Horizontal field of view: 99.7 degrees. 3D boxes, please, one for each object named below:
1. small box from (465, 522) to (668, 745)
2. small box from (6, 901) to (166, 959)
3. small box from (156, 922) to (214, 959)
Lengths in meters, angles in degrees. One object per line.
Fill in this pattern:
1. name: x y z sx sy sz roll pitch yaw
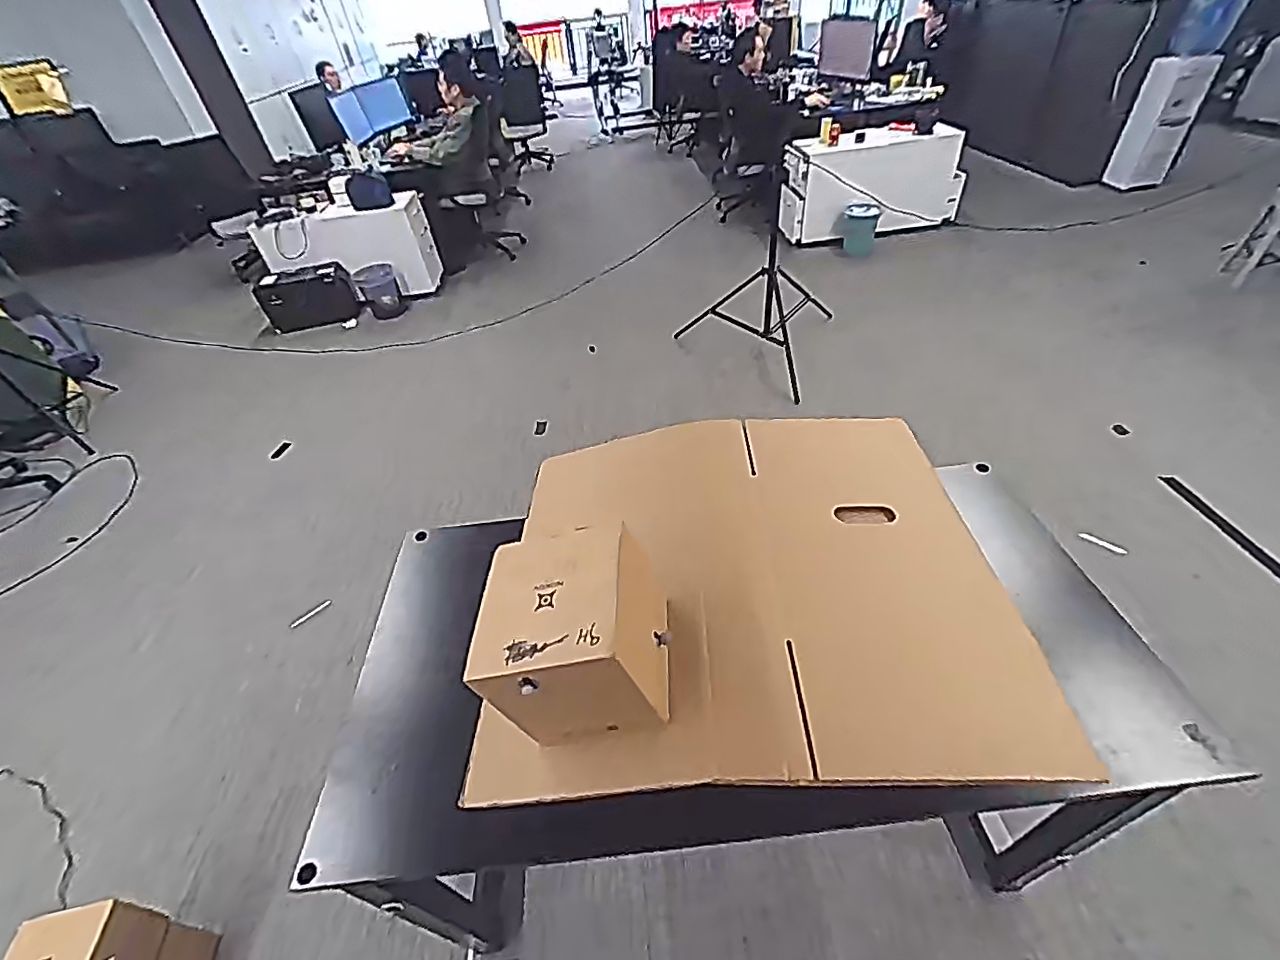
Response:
1. small box: -0.069 0.181 0.631 0.168 0.176 0.179 -15 40 14
2. small box: -1.058 0.935 1.018 0.168 0.176 0.179 -11 41 -5
3. small box: -1.040 1.059 1.123 0.168 0.176 0.179 -10 43 -2
